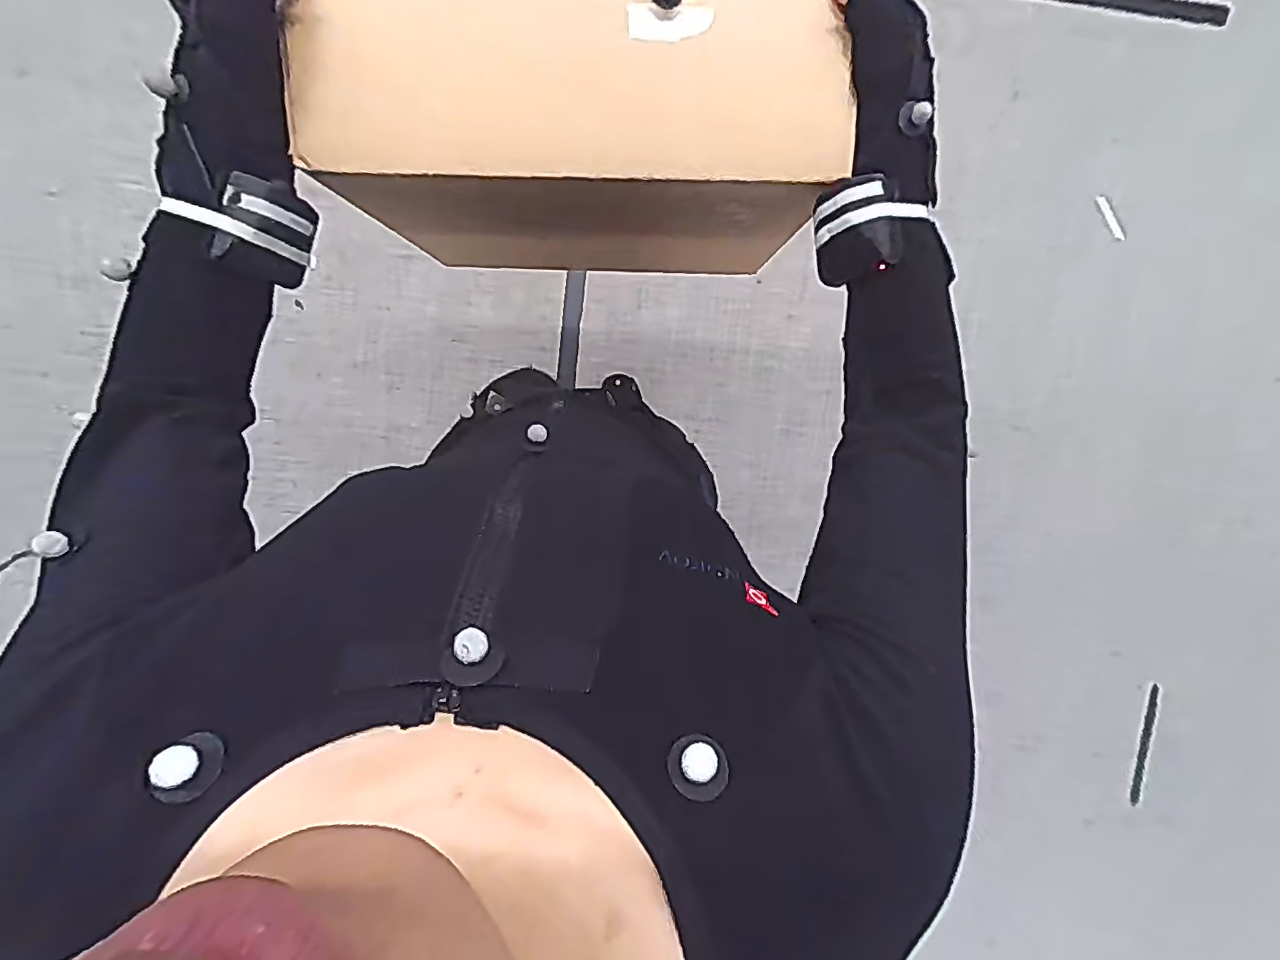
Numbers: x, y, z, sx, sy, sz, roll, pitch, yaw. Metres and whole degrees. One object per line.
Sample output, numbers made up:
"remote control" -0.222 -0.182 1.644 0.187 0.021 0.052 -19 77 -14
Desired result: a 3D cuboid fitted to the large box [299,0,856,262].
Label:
"large box" -0.046 -0.409 0.524 0.408 0.320 0.320 1 100 -1
